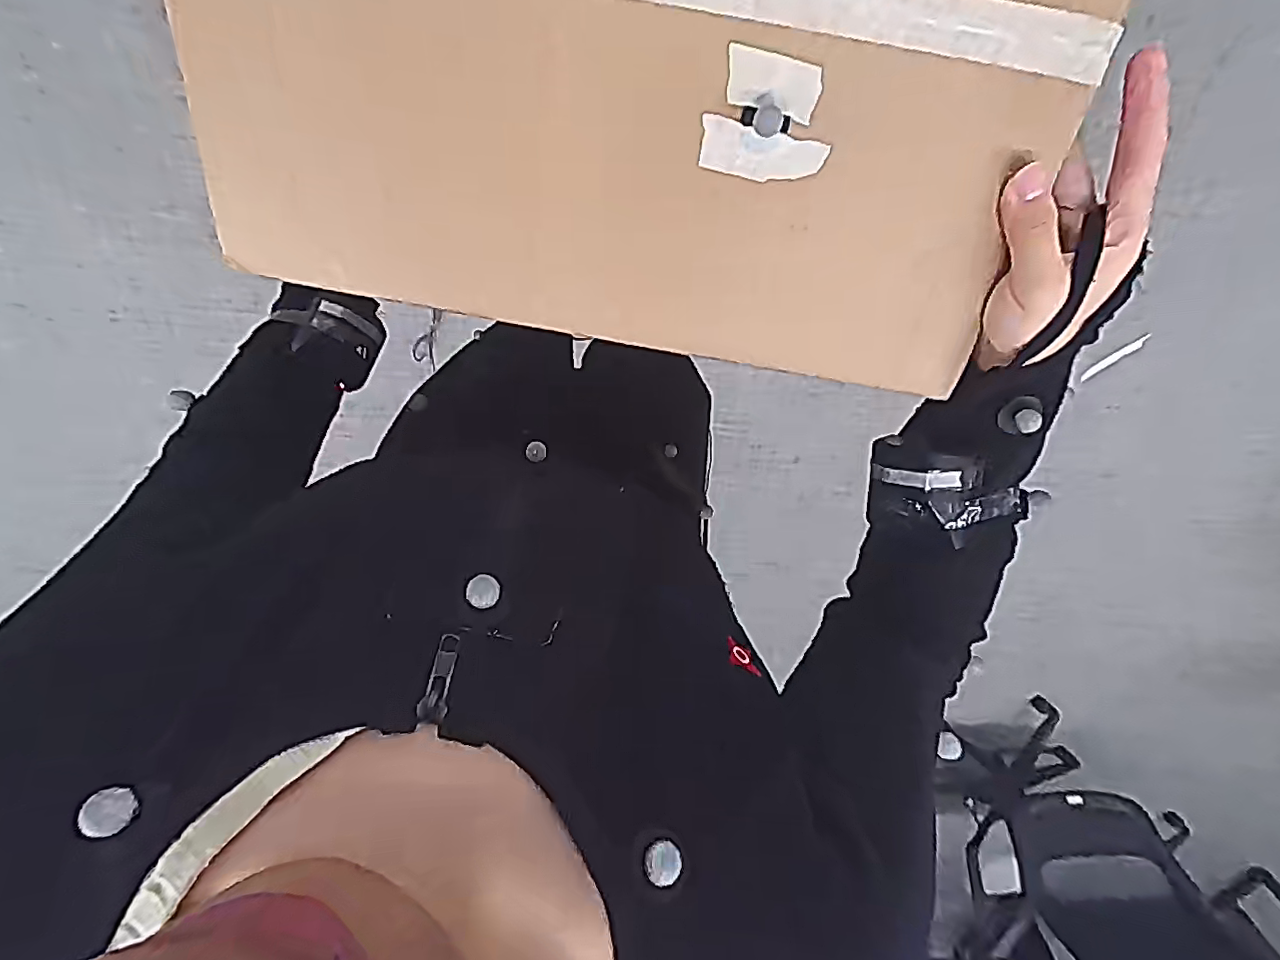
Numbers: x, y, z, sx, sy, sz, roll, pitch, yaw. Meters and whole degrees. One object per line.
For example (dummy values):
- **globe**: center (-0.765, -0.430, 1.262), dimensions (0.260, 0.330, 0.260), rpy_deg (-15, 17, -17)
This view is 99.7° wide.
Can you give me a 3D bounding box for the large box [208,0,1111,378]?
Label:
- **large box**: center (0.009, -0.290, 0.370), dimensions (0.408, 0.320, 0.320), rpy_deg (9, 120, -2)
